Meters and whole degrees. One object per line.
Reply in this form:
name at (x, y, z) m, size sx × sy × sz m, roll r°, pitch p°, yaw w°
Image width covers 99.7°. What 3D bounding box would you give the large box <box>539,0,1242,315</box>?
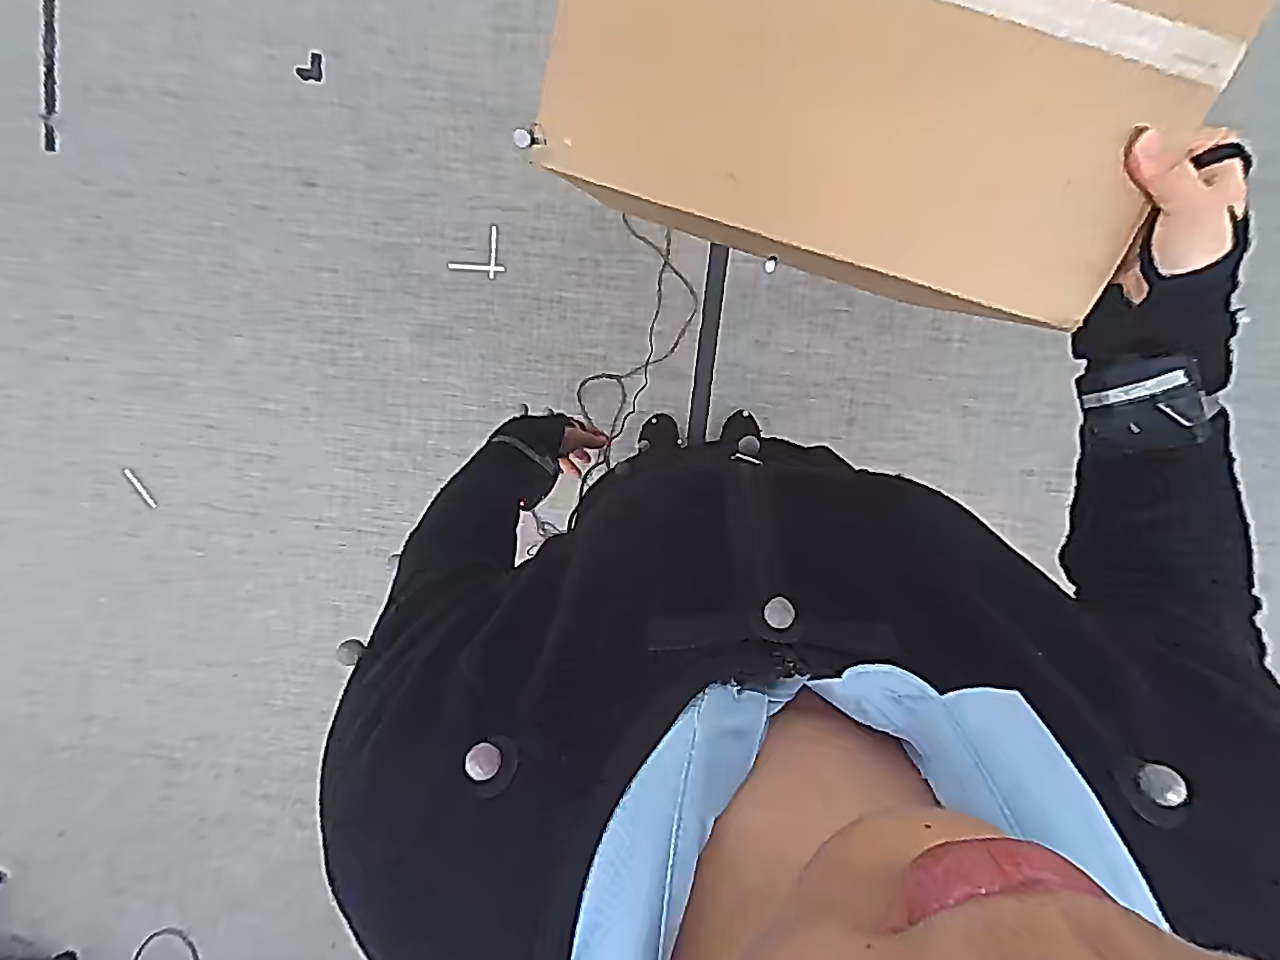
large box at (0.173, -0.359, 0.472) m, size 0.408 × 0.320 × 0.320 m, roll 17°, pitch 111°, yaw 1°
